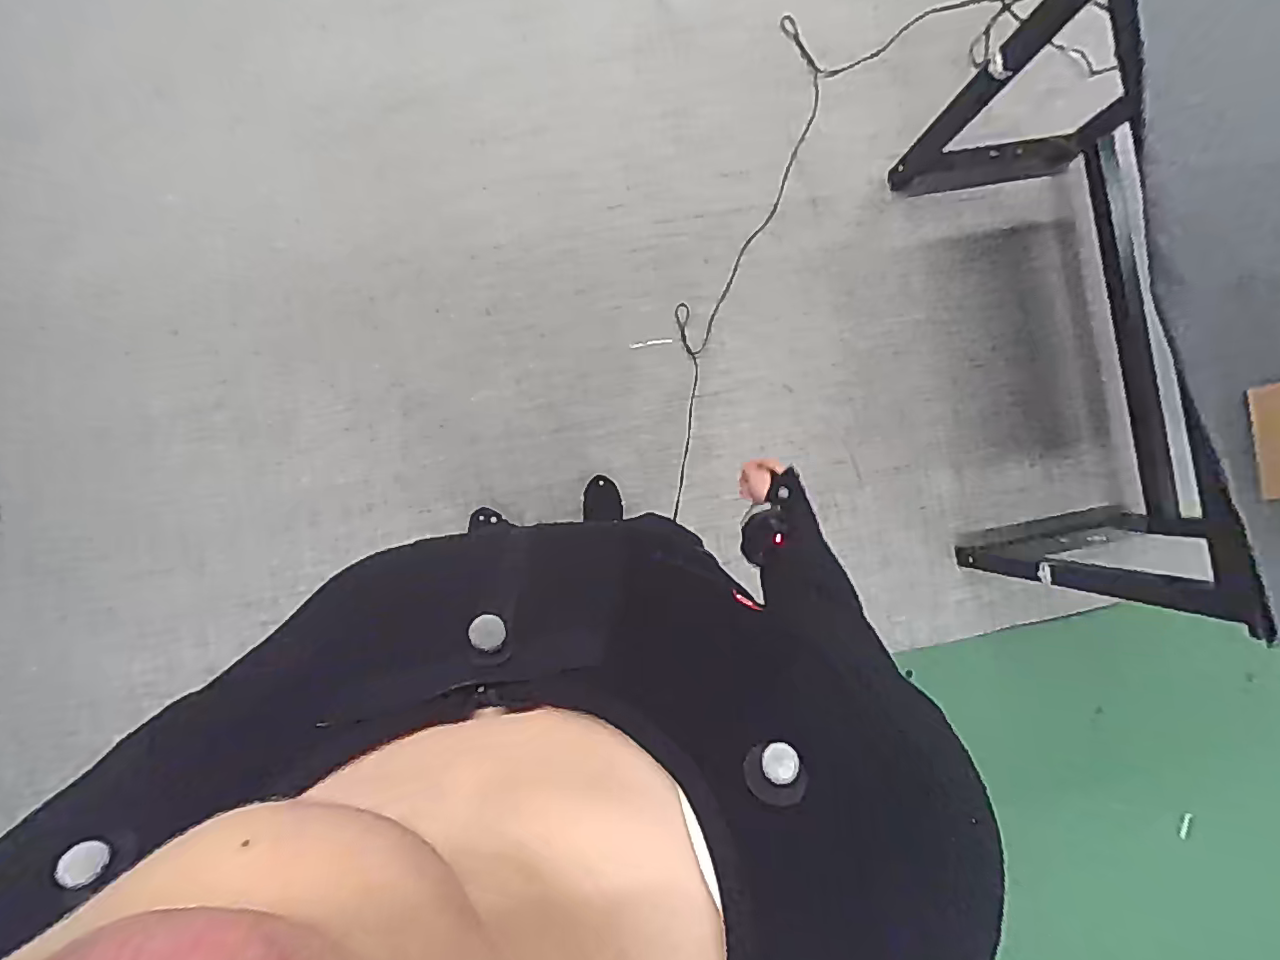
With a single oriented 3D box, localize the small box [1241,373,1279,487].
[{"bbox_3d":[1.036,-0.080,0.775,0.168,0.176,0.179,-6,88,-7],"label":"small box"}]
